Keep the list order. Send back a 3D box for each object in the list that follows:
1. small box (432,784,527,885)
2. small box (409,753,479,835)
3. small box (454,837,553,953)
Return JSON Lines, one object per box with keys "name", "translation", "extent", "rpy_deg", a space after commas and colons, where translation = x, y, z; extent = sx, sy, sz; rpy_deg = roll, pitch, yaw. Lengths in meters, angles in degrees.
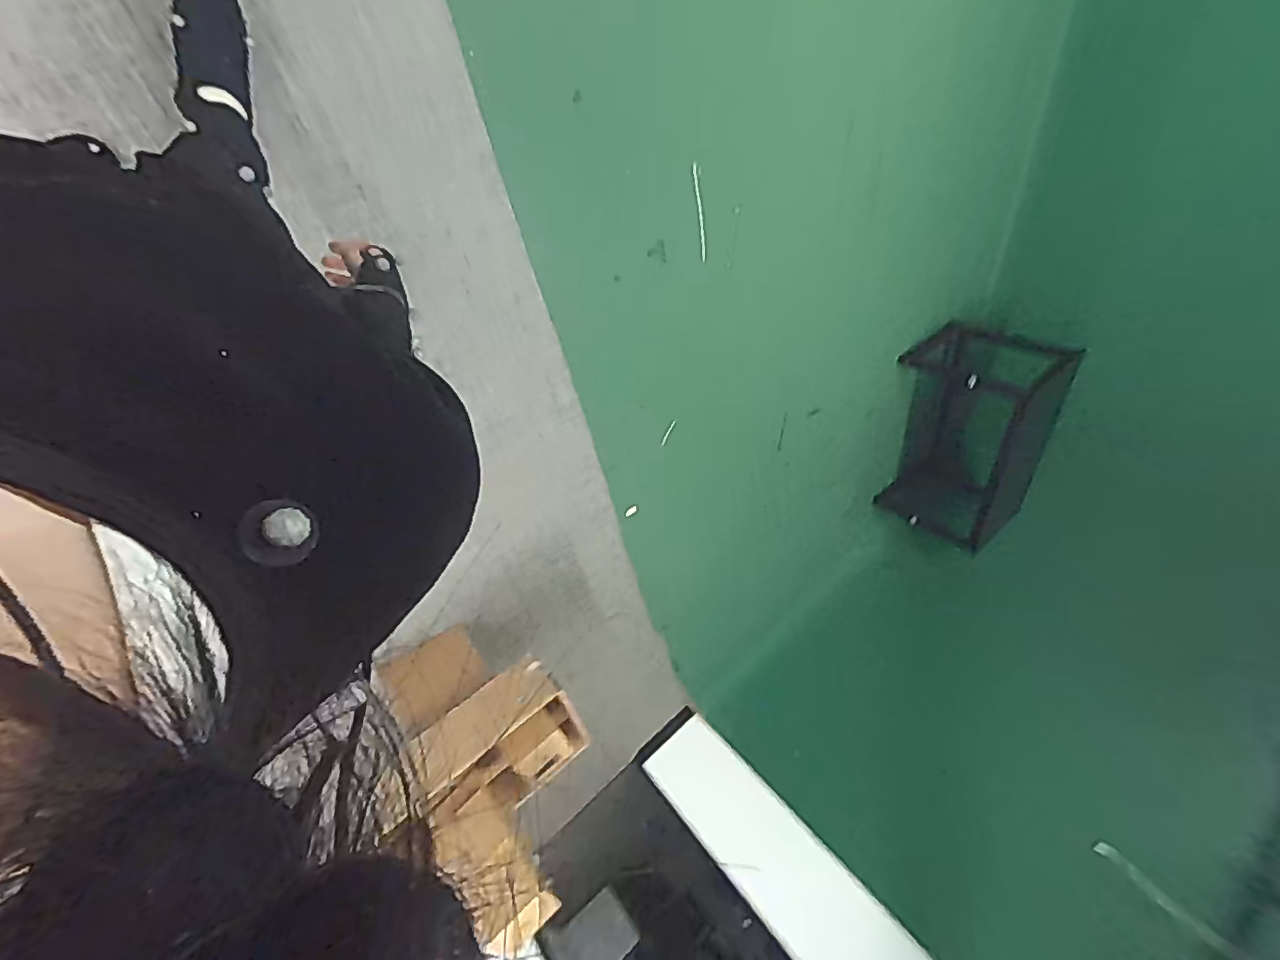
{"name": "small box", "translation": [-0.462, 1.013, 1.534], "extent": [0.179, 0.176, 0.168], "rpy_deg": [-42, 139, -18]}
{"name": "small box", "translation": [-0.579, 0.972, 1.647], "extent": [0.168, 0.176, 0.179], "rpy_deg": [-27, 132, -30]}
{"name": "small box", "translation": [-0.363, 1.091, 1.433], "extent": [0.168, 0.176, 0.179], "rpy_deg": [-36, 137, -24]}
